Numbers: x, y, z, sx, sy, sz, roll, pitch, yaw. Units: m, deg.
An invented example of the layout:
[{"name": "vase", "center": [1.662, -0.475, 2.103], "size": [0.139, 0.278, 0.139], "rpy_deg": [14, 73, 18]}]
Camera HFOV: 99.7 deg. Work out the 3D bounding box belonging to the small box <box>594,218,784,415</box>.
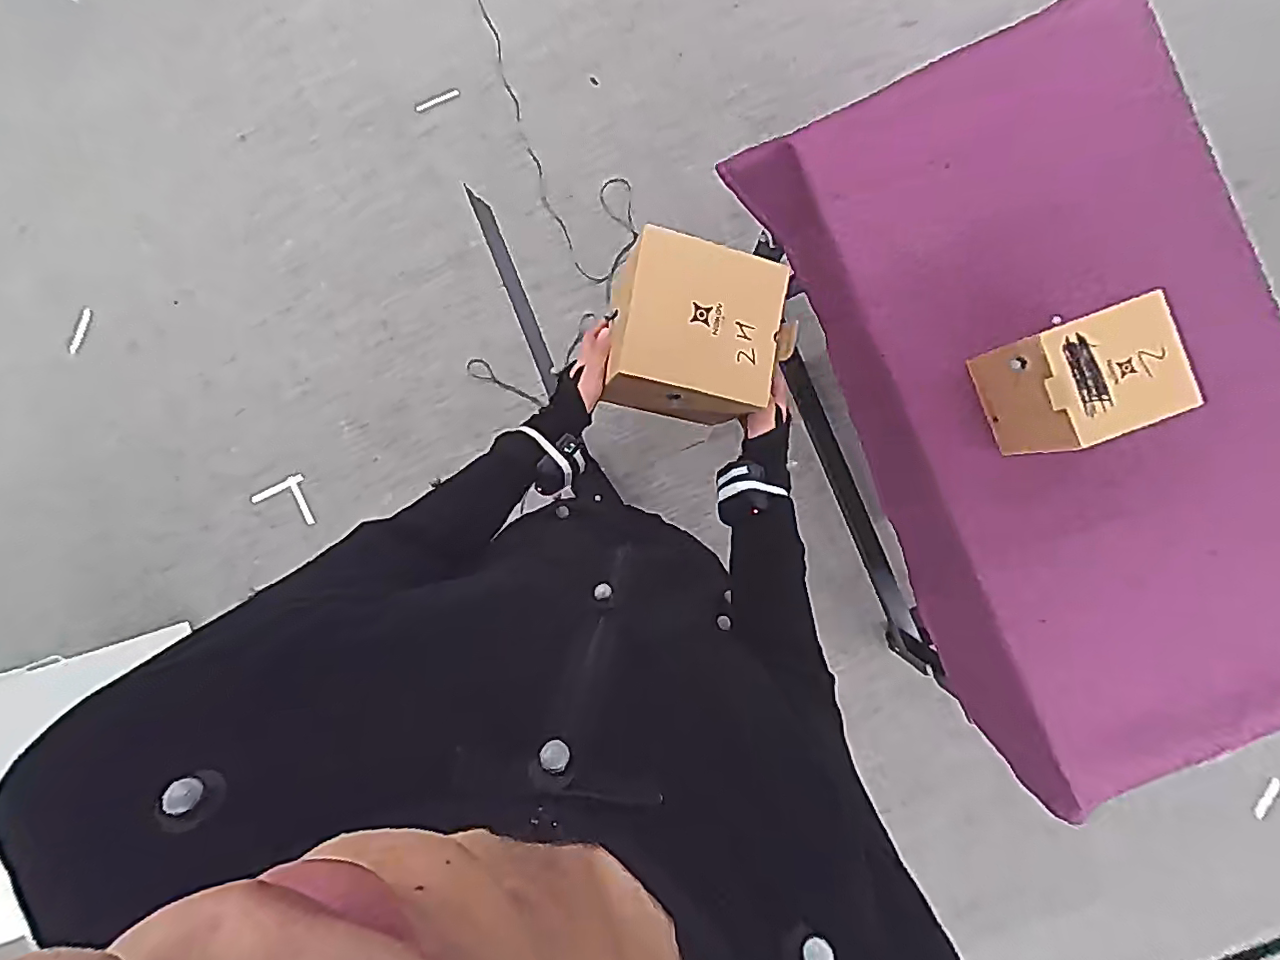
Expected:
[{"name": "small box", "center": [0.048, -0.182, 0.662], "size": [0.179, 0.176, 0.168], "rpy_deg": [10, 87, -14]}]
